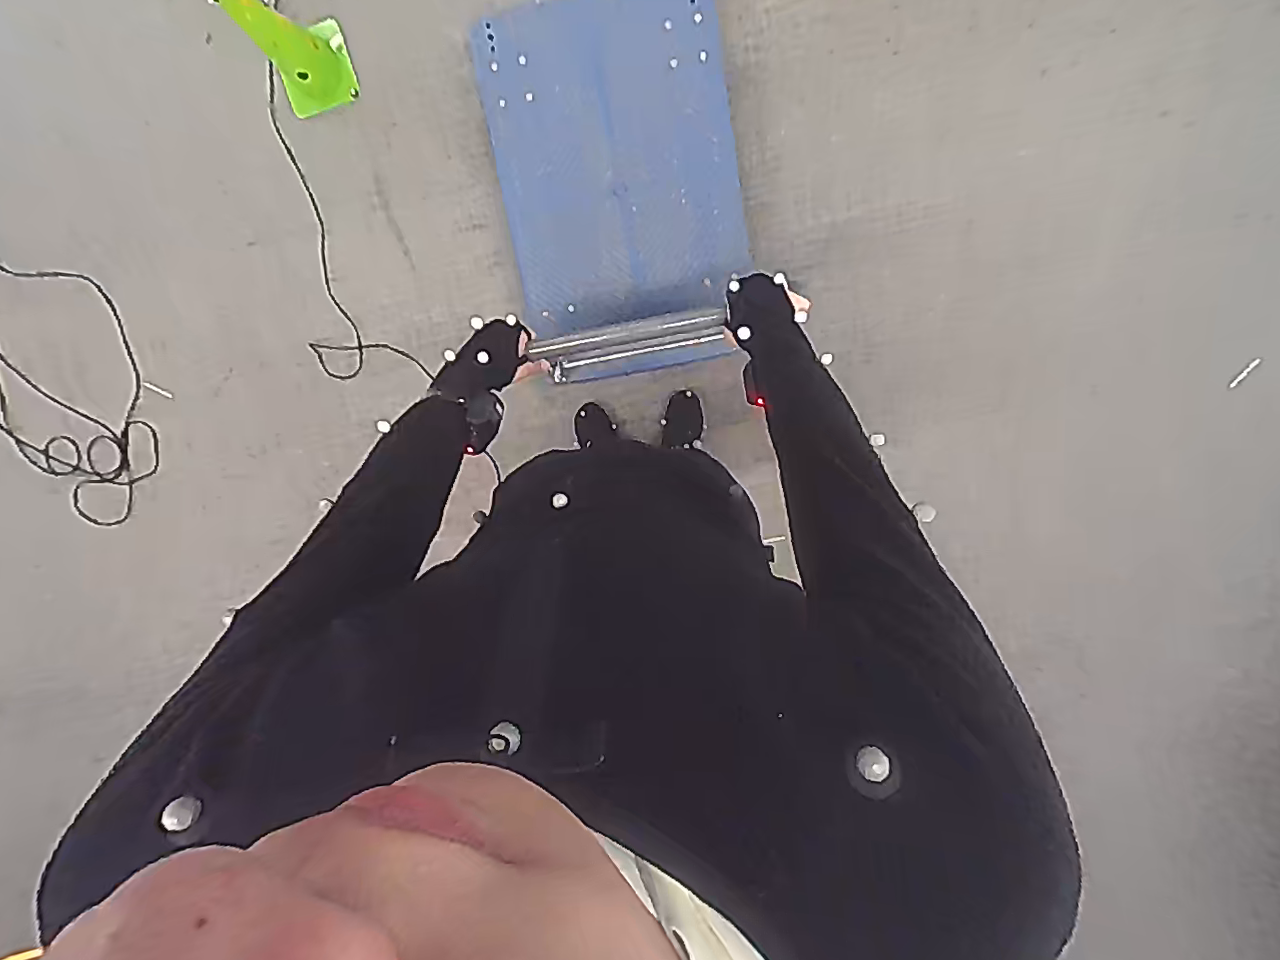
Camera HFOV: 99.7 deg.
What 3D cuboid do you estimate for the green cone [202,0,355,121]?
[{"bbox_3d":[-0.901,-1.071,1.294,0.202,0.368,0.200,-15,100,8],"label":"green cone"}]
